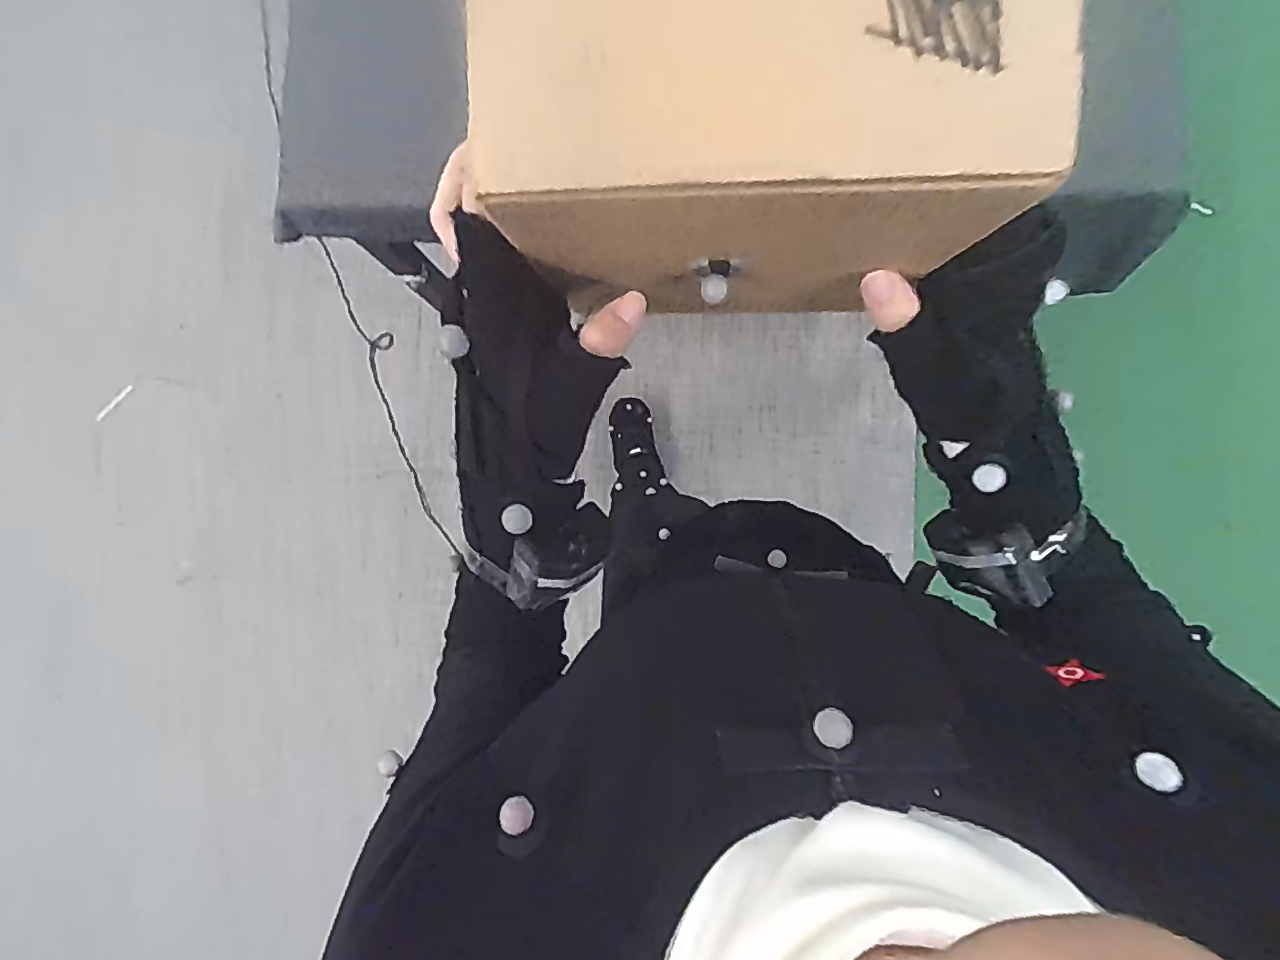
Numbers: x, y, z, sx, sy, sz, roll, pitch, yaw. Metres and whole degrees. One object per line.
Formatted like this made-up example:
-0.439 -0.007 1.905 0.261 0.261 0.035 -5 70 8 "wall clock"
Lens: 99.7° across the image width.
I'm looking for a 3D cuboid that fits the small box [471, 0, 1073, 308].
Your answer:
0.039 -0.176 0.233 0.179 0.176 0.168 -2 96 3 "small box"
